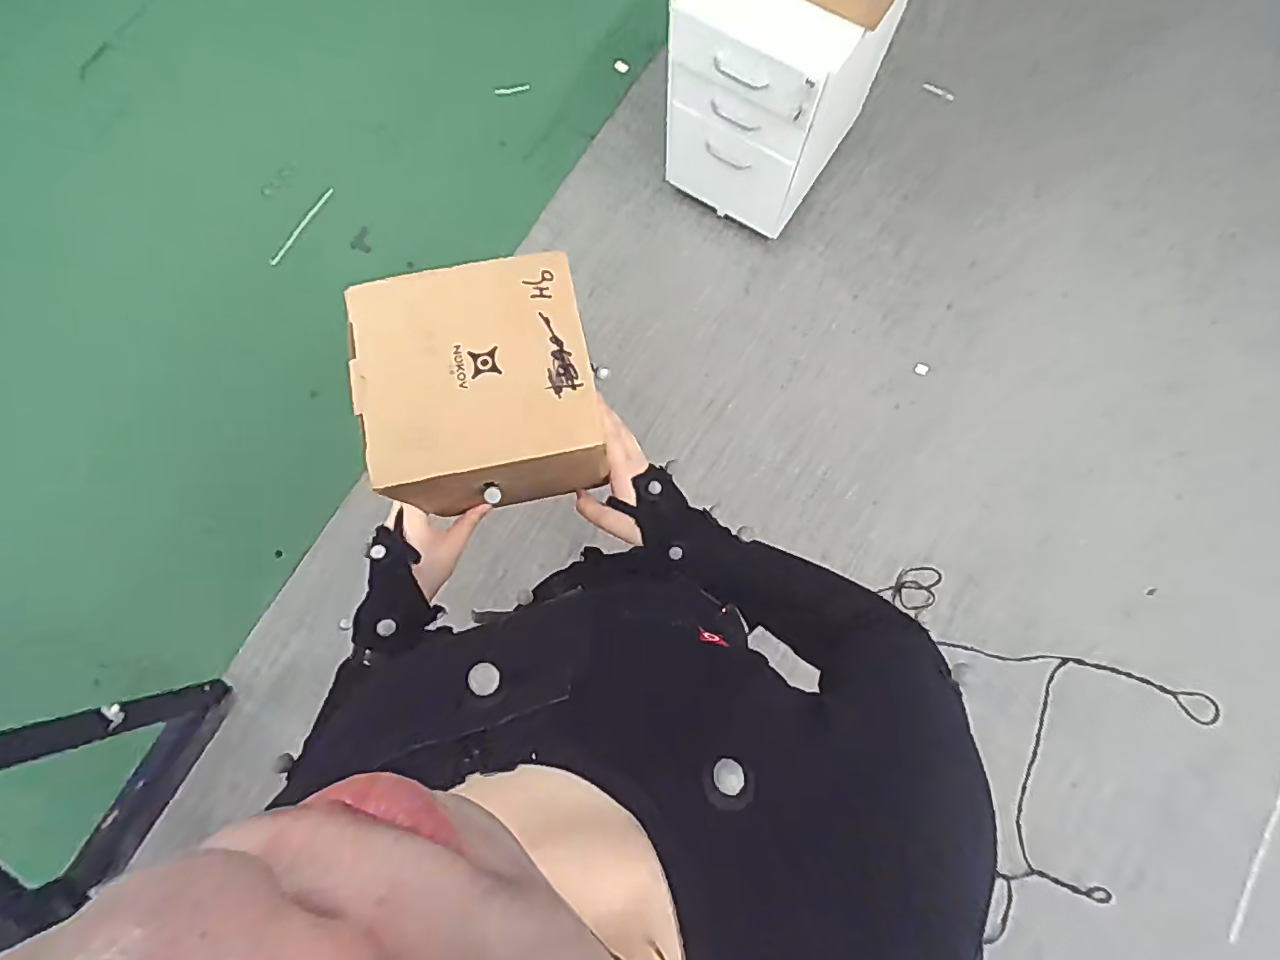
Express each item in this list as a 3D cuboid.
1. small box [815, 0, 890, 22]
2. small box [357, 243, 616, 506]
[{"bbox_3d":[0.438,-1.033,1.030,0.179,0.176,0.168,32,81,9],"label":"small box"},{"bbox_3d":[-0.122,-0.079,0.487,0.179,0.176,0.168,-11,80,-4],"label":"small box"}]
